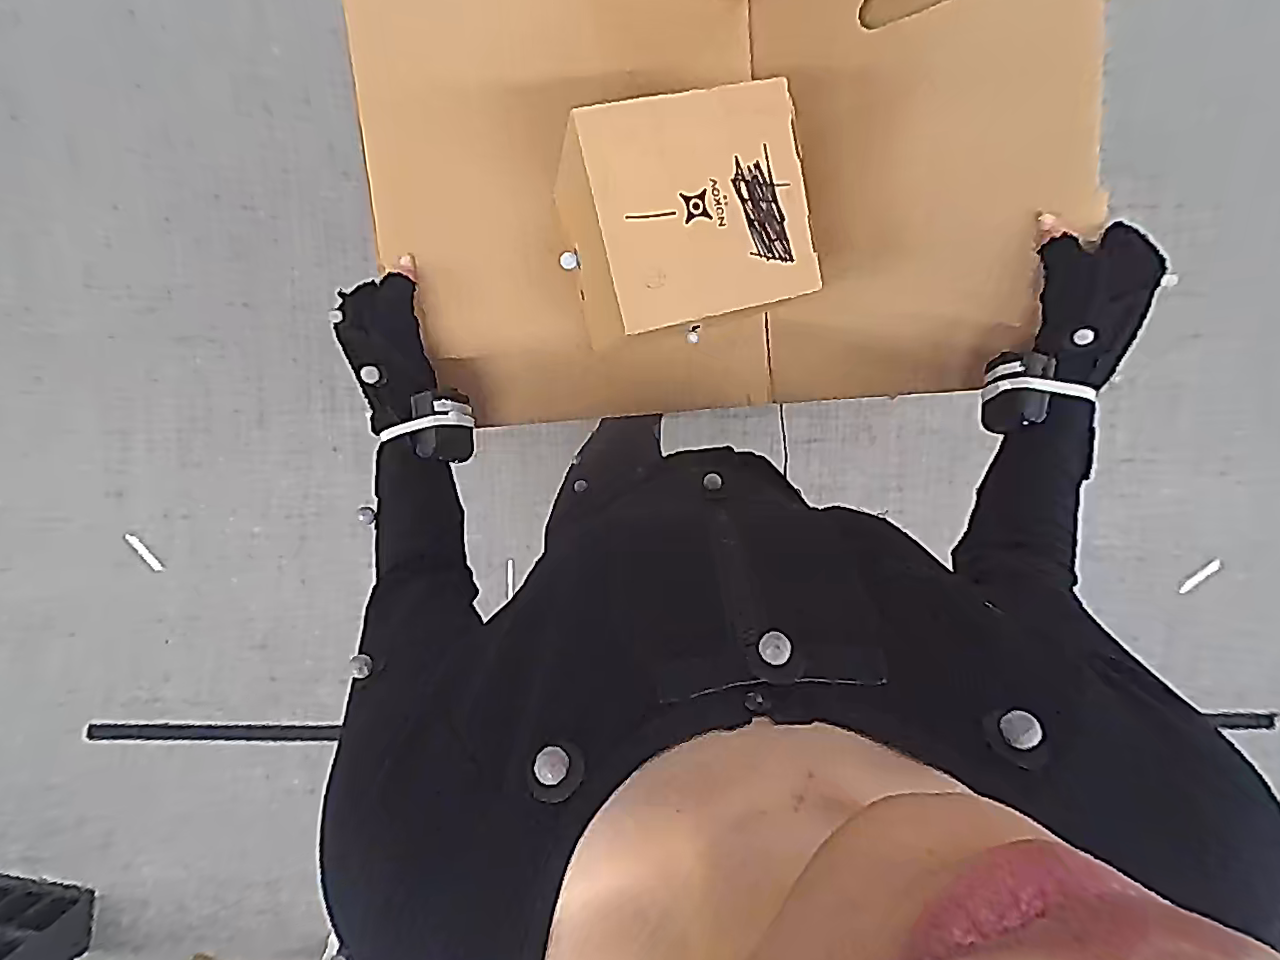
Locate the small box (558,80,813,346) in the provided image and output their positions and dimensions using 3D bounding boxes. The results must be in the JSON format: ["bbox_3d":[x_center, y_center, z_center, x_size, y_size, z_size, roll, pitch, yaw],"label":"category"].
[{"bbox_3d":[0.031,-0.231,0.509,0.179,0.176,0.168,-16,100,-10],"label":"small box"}]
